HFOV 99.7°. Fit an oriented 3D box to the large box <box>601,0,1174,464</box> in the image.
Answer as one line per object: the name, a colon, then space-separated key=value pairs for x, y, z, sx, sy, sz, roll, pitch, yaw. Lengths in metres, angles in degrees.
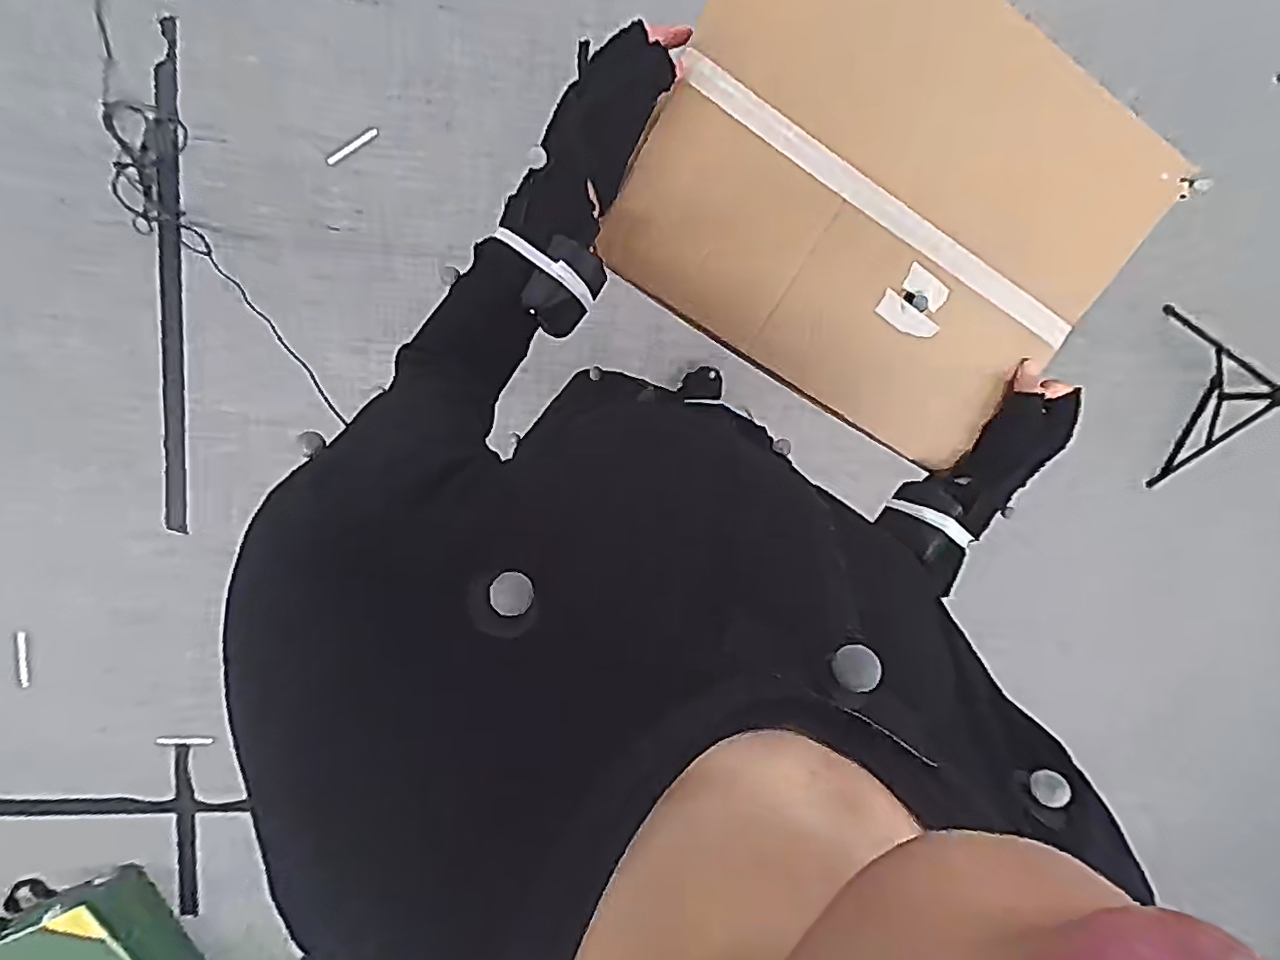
large box: x=0.204 y=-0.279 z=0.602 sx=0.408 sy=0.320 sz=0.320 roll=30 pitch=107 yaw=-11
